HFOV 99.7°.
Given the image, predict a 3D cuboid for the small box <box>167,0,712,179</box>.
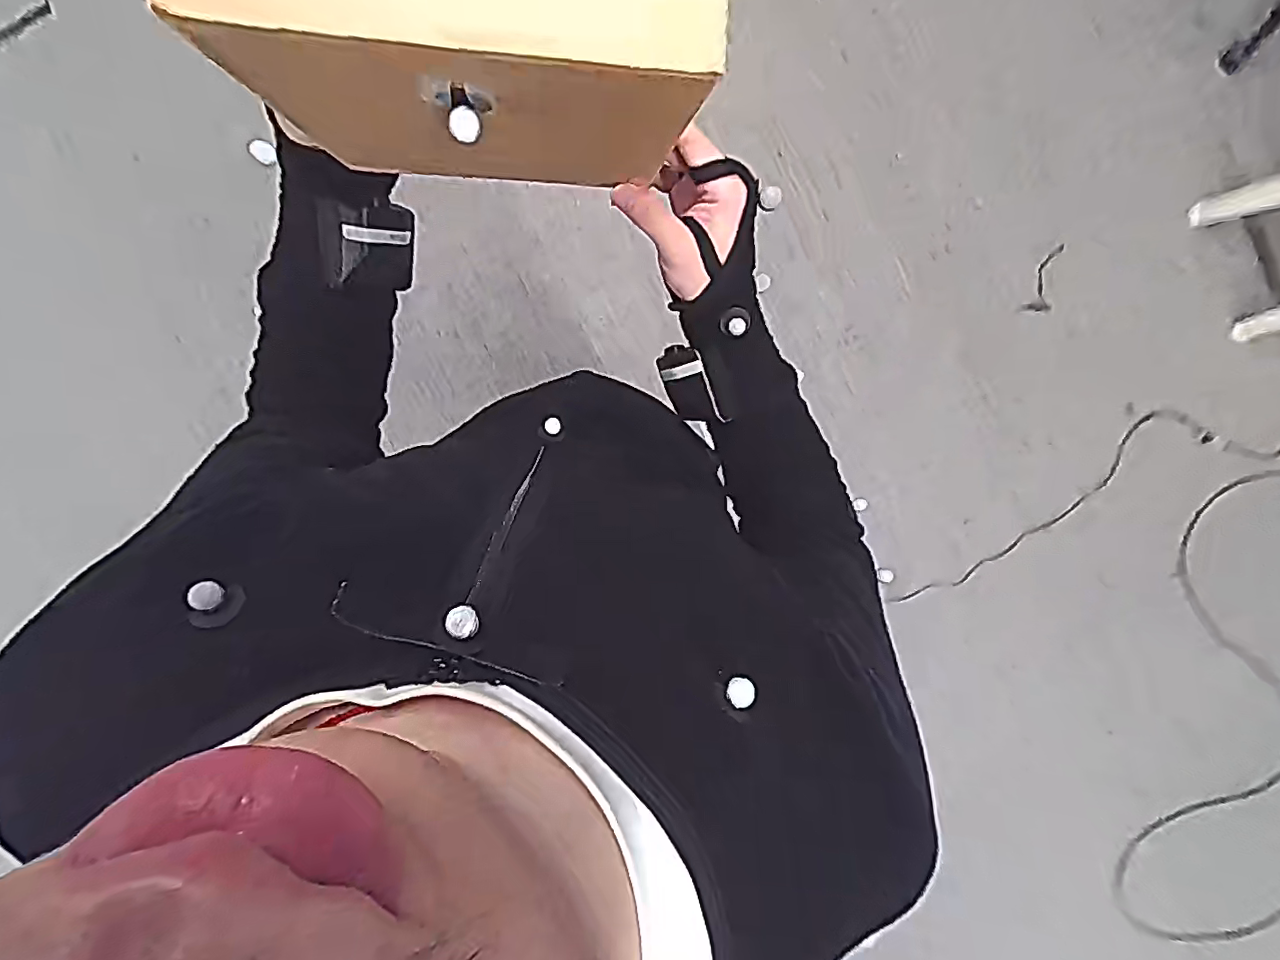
[{"bbox_3d":[-0.071,-0.243,0.234,0.179,0.176,0.168,-2,107,-10],"label":"small box"}]
